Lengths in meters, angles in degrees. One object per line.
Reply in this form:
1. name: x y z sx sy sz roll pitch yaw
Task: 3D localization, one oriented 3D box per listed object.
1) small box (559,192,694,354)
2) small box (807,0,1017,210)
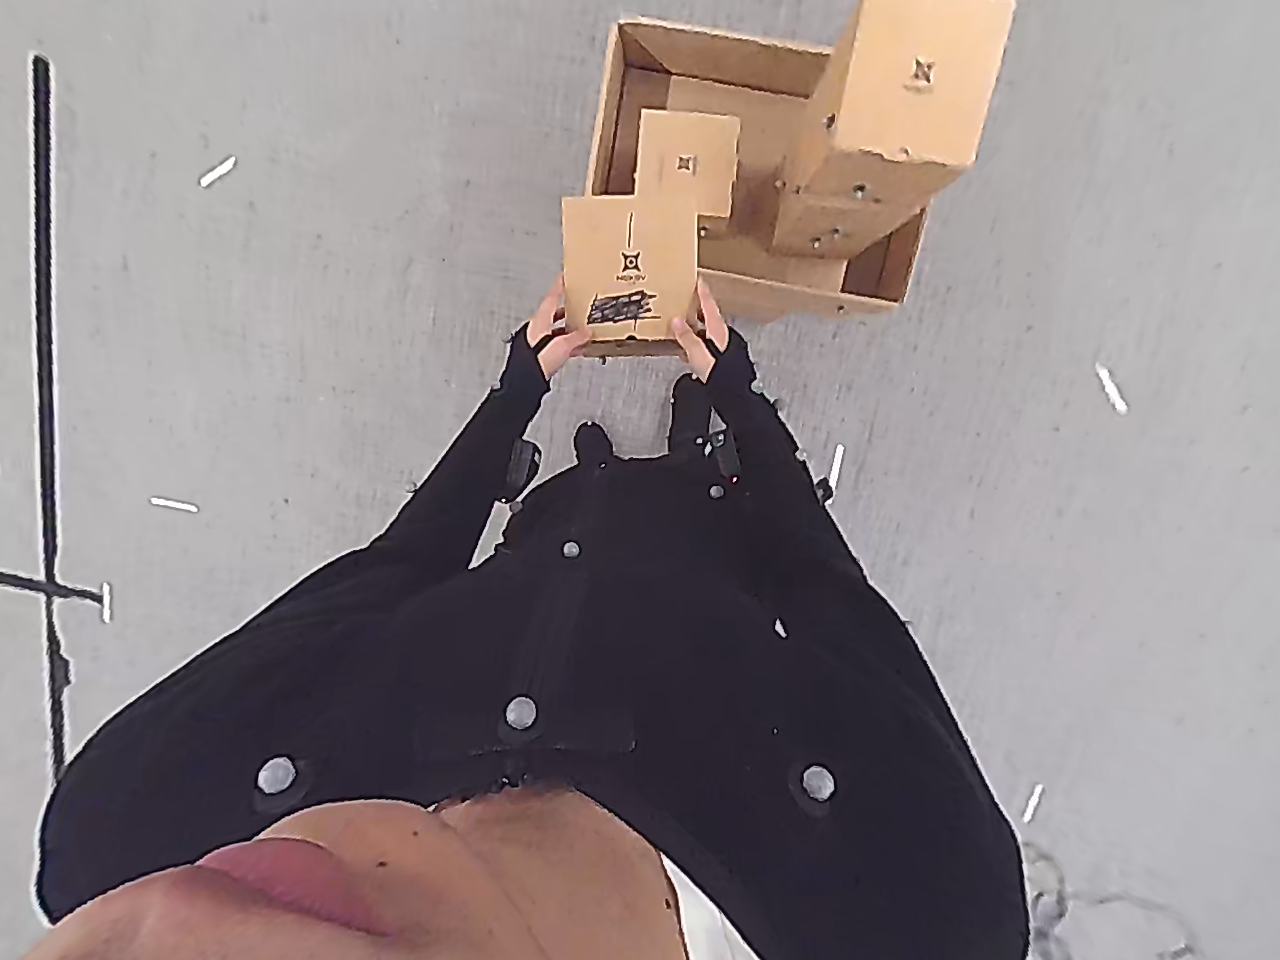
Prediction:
1. small box: -0.013 -0.267 0.737 0.168 0.176 0.179 -1 96 1
2. small box: 0.325 -0.471 0.688 0.168 0.176 0.179 10 102 2
